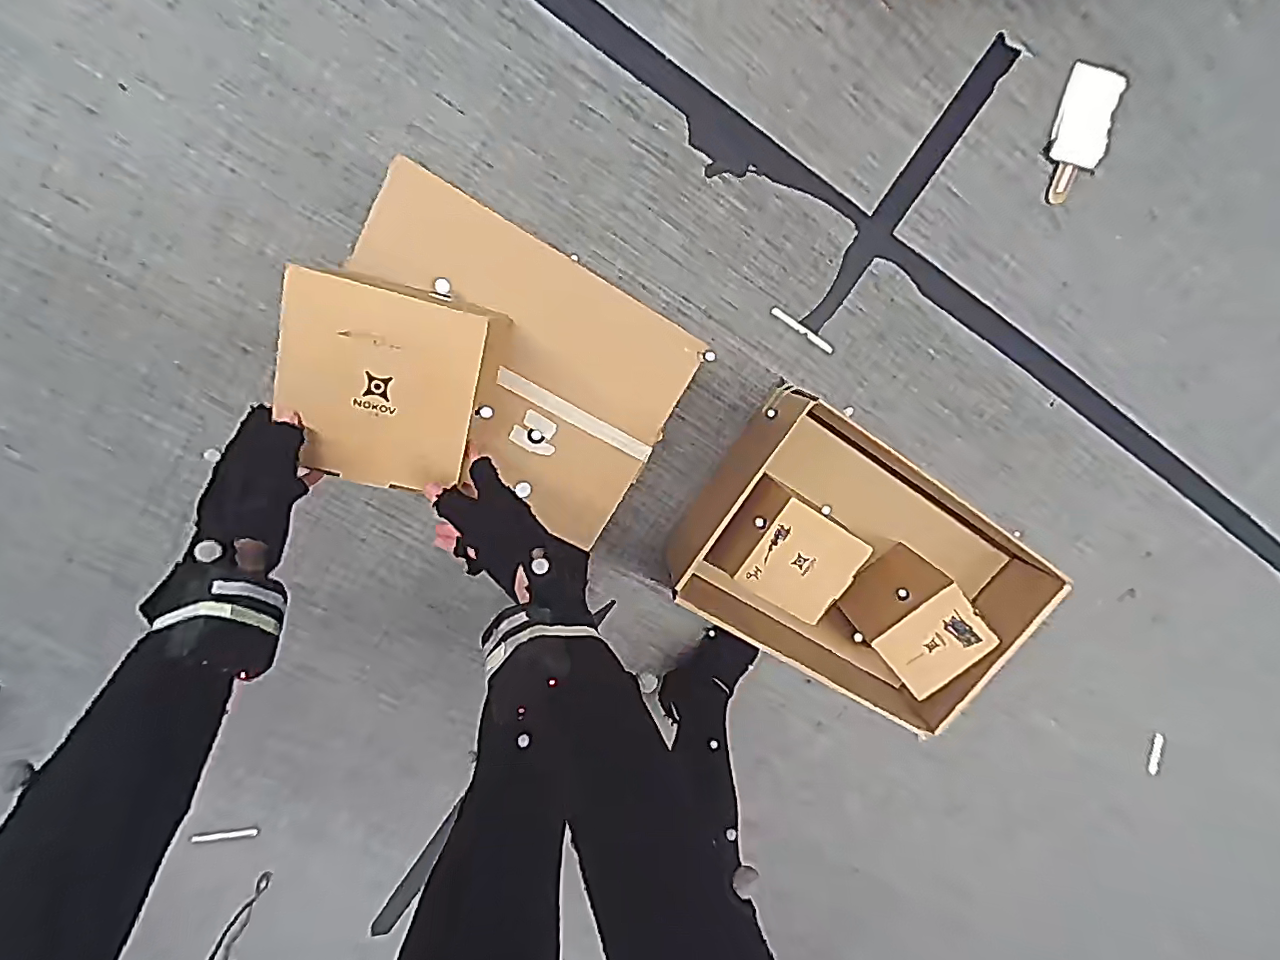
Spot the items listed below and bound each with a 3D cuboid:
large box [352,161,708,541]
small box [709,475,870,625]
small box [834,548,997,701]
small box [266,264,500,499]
[{"bbox_3d":[-0.176,-0.172,0.792,0.408,0.320,0.320,27,103,-13],"label":"large box"},{"bbox_3d":[0.246,0.111,0.932,0.179,0.176,0.168,31,100,-15],"label":"small box"},{"bbox_3d":[0.498,0.257,1.001,0.179,0.176,0.168,-40,105,7],"label":"small box"},{"bbox_3d":[-0.244,-0.102,0.548,0.168,0.176,0.179,12,105,-12],"label":"small box"}]
